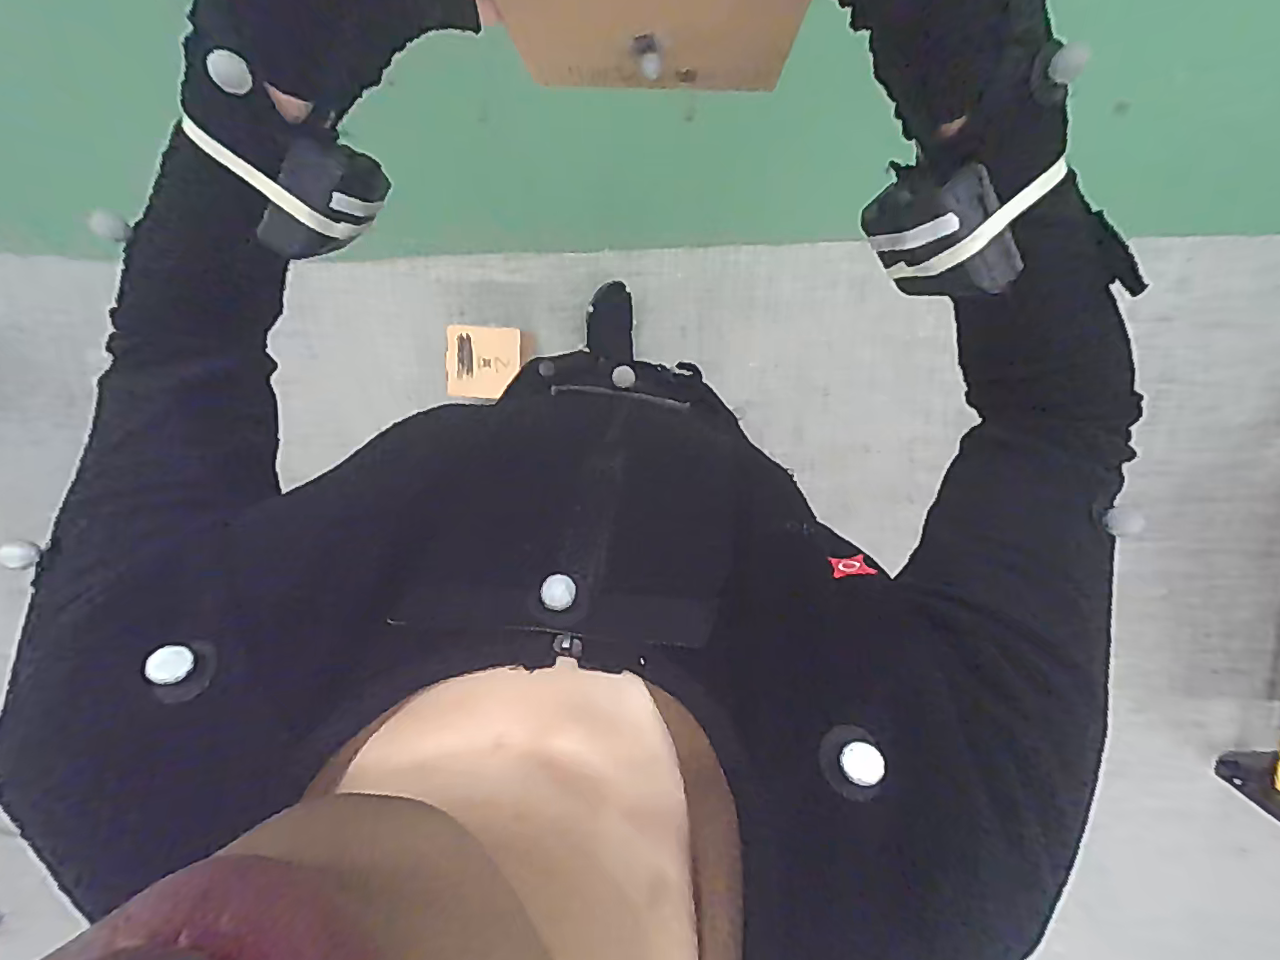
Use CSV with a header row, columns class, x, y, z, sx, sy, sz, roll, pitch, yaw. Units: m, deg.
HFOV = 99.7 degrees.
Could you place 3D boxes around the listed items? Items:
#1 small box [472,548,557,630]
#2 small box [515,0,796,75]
class,x,y,z,sx,sy,sz,roll,pitch,yaw
small box,-0.334,0.291,1.467,0.179,0.176,0.168,-4,102,3
small box,0.008,-0.340,0.261,0.168,0.176,0.179,4,104,3
